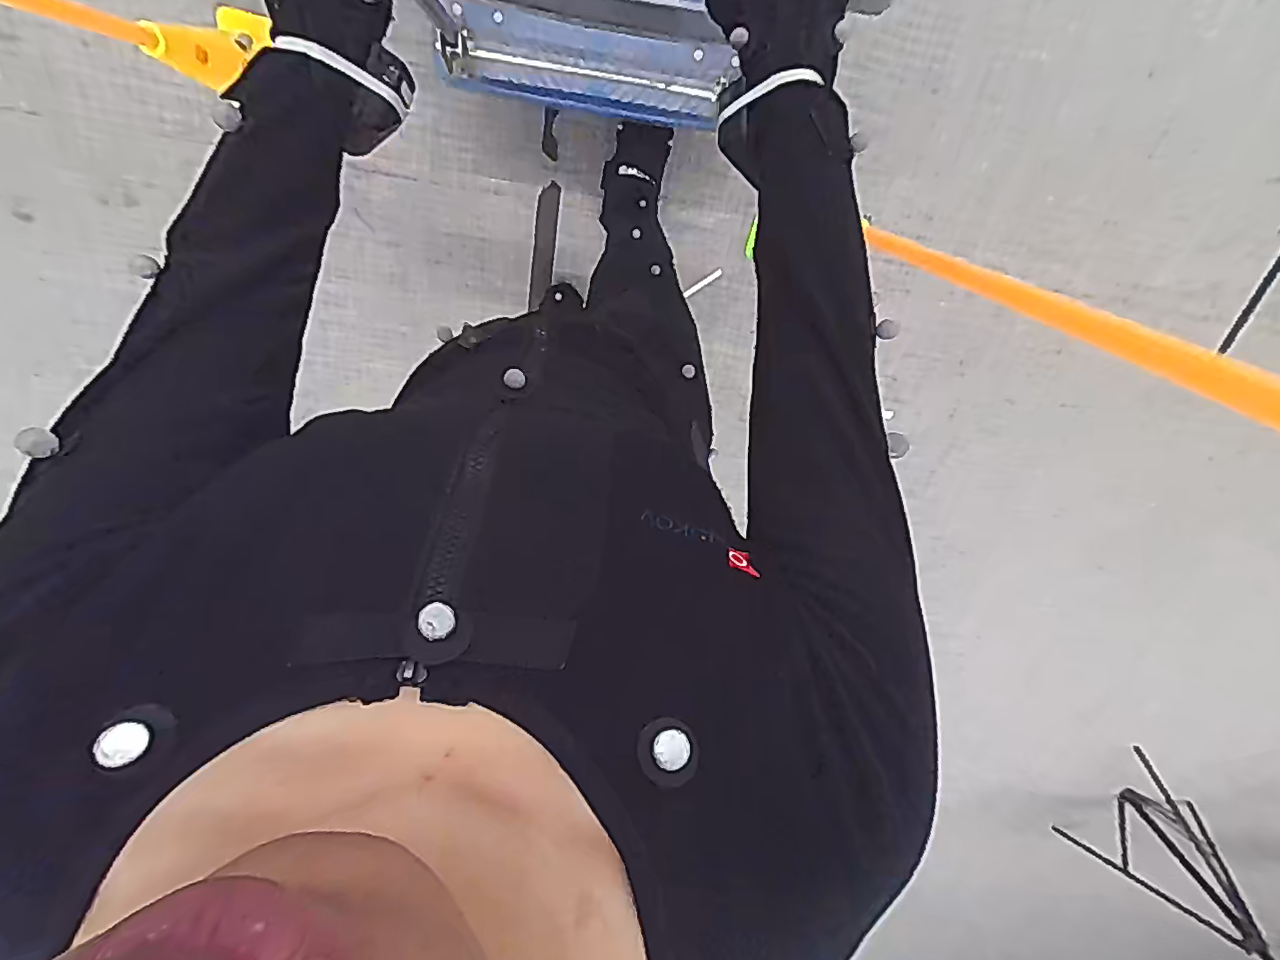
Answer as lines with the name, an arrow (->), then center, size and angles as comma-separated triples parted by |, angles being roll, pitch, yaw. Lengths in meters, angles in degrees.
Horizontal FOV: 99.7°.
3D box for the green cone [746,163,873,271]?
green cone -> 0.379, -0.530, 1.119 | 0.202, 0.368, 0.200 | 10, 117, -10
